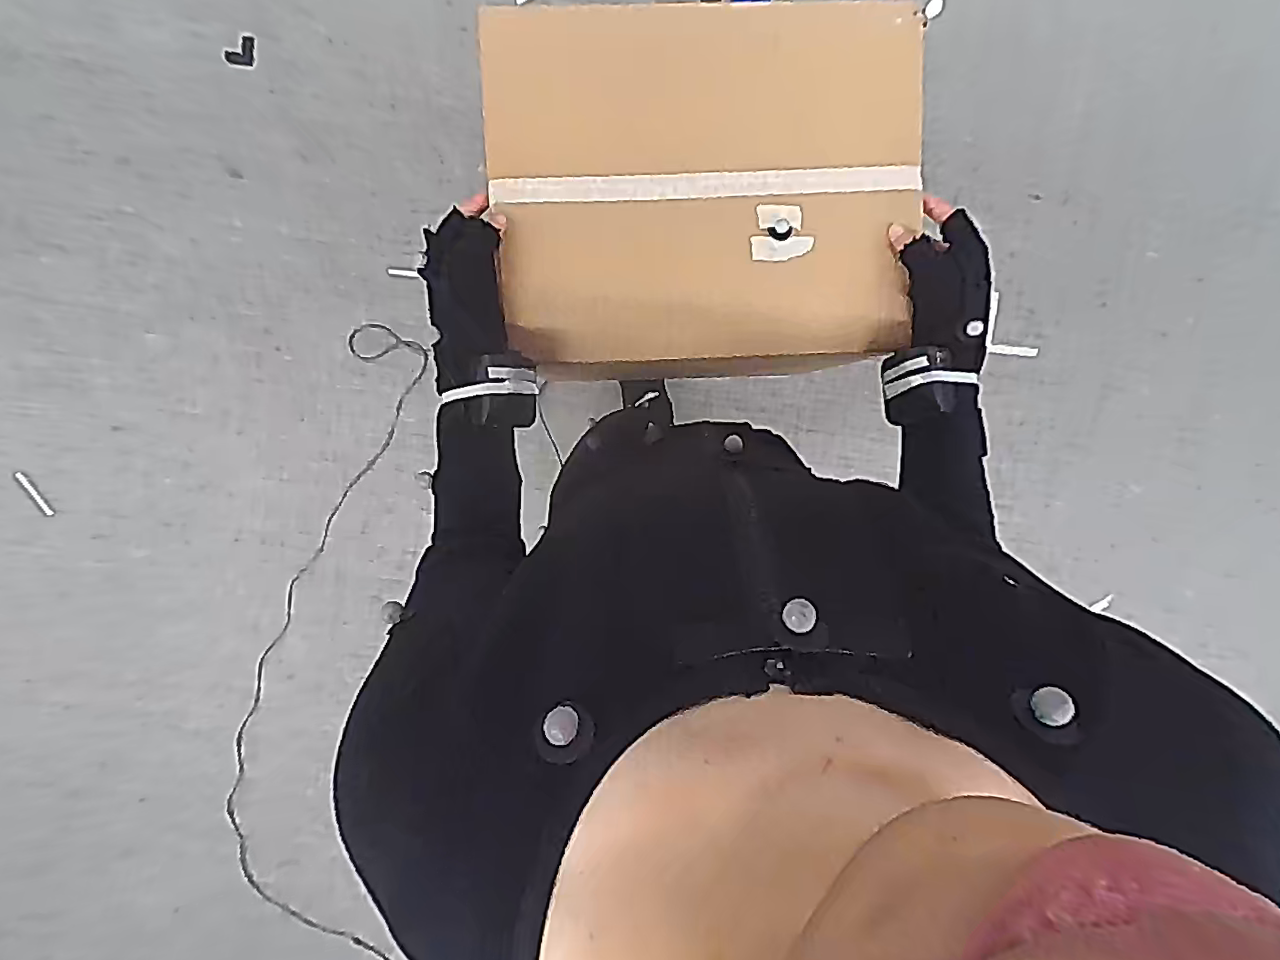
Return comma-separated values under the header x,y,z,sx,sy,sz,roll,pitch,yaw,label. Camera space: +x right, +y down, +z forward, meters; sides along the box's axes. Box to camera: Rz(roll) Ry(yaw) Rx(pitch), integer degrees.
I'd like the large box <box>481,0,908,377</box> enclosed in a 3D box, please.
x,y,z,sx,sy,sz,roll,pitch,yaw,label
0.052,-0.304,0.663,0.408,0.320,0.320,-2,97,-2,large box
